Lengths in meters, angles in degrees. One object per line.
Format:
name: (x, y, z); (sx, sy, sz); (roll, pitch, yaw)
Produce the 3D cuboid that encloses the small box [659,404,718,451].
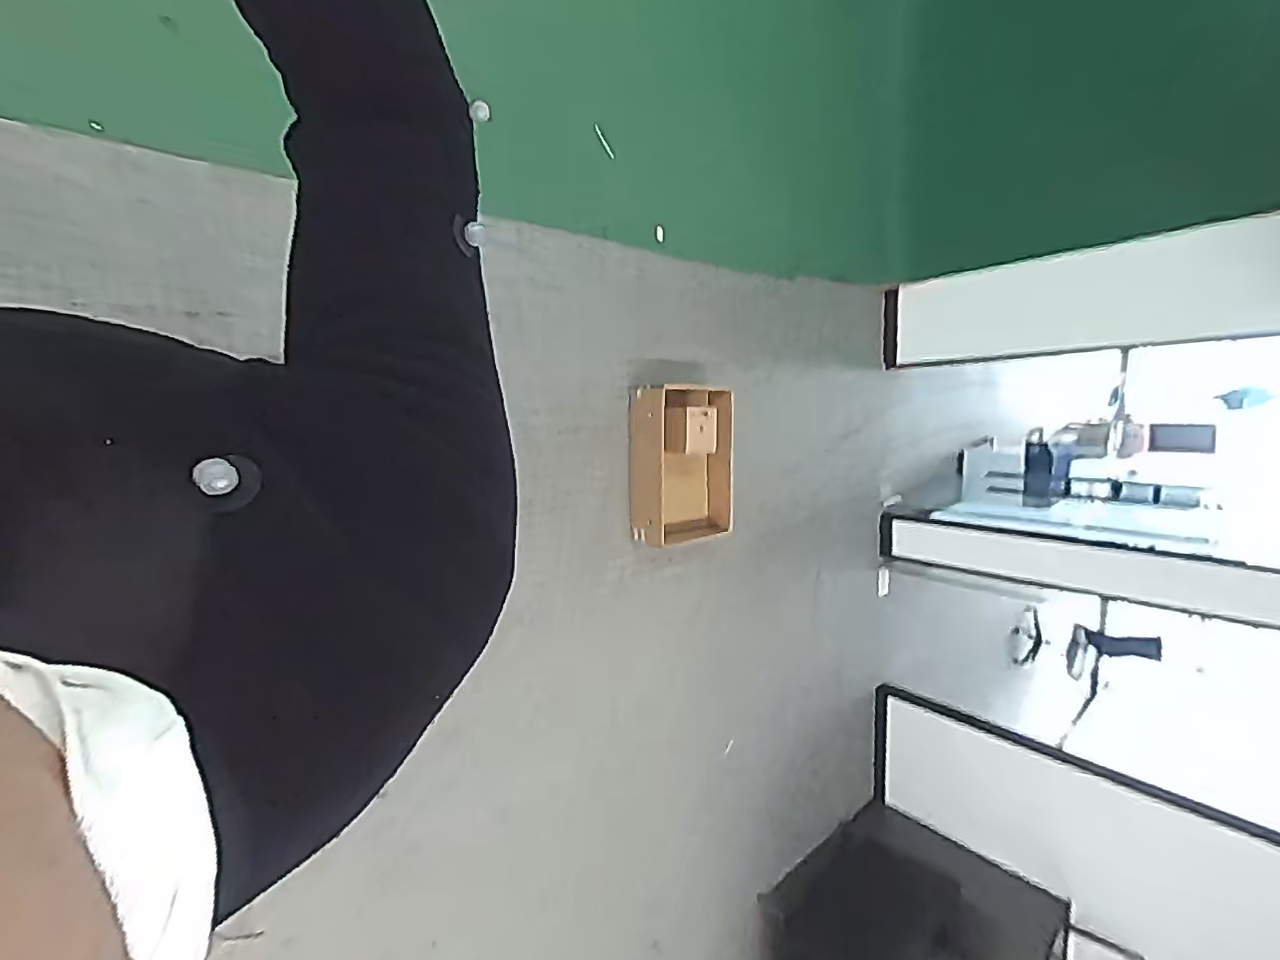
small box: (0.187, -0.209, 2.122); (0.168, 0.176, 0.179); (-6, 100, -40)
